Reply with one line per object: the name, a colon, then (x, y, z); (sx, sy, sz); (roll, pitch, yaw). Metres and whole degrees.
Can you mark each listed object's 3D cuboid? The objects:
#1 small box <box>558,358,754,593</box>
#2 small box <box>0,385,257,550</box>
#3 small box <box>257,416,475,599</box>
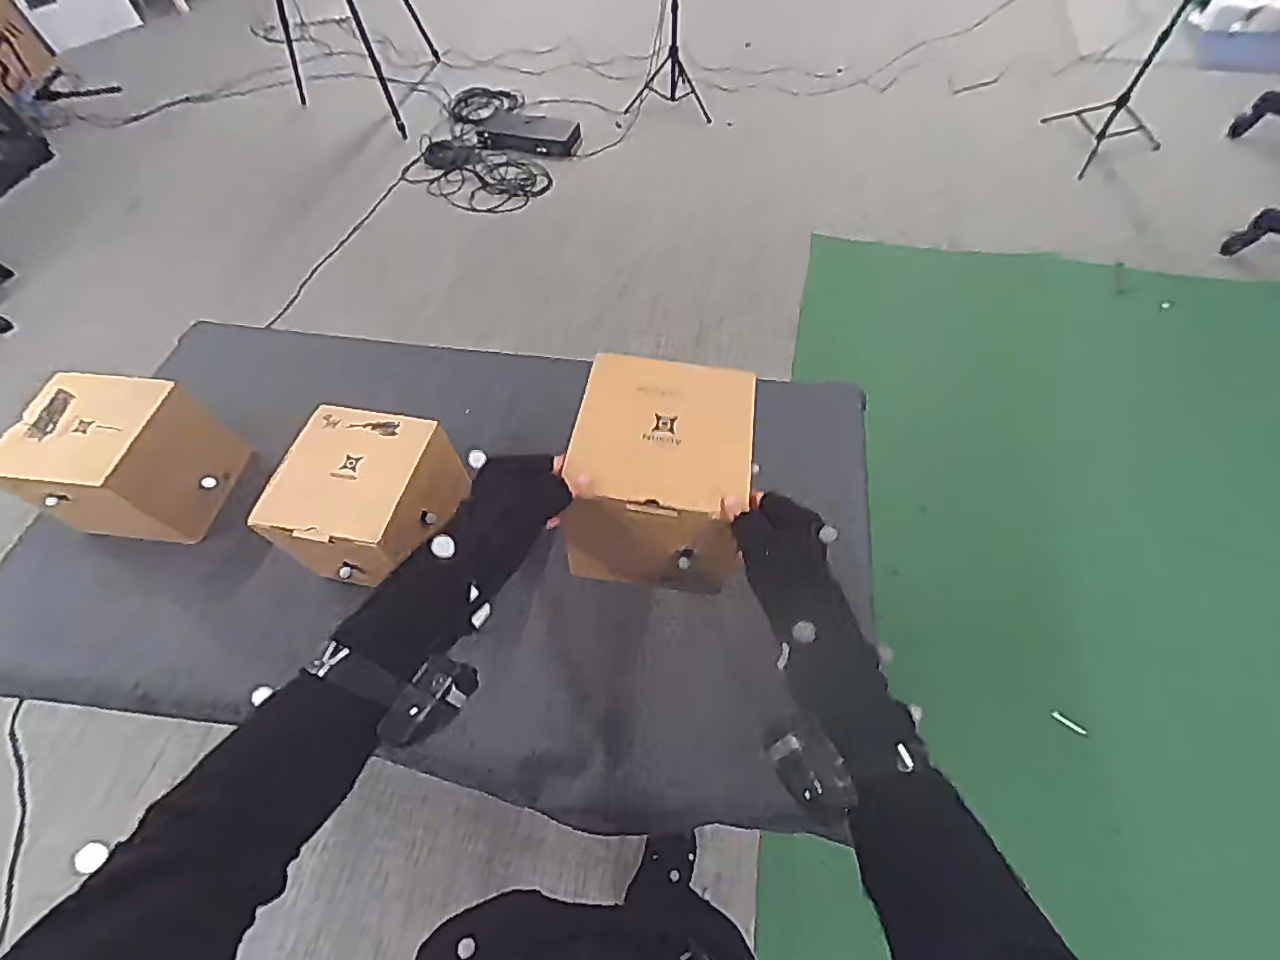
small box: (0.020, 0.001, 0.567); (0.168, 0.176, 0.179); (8, 54, 3)
small box: (-0.703, -0.013, 0.762); (0.179, 0.176, 0.168); (5, 59, 4)
small box: (-0.340, 0.042, 0.716); (0.168, 0.176, 0.179); (9, 59, 8)
